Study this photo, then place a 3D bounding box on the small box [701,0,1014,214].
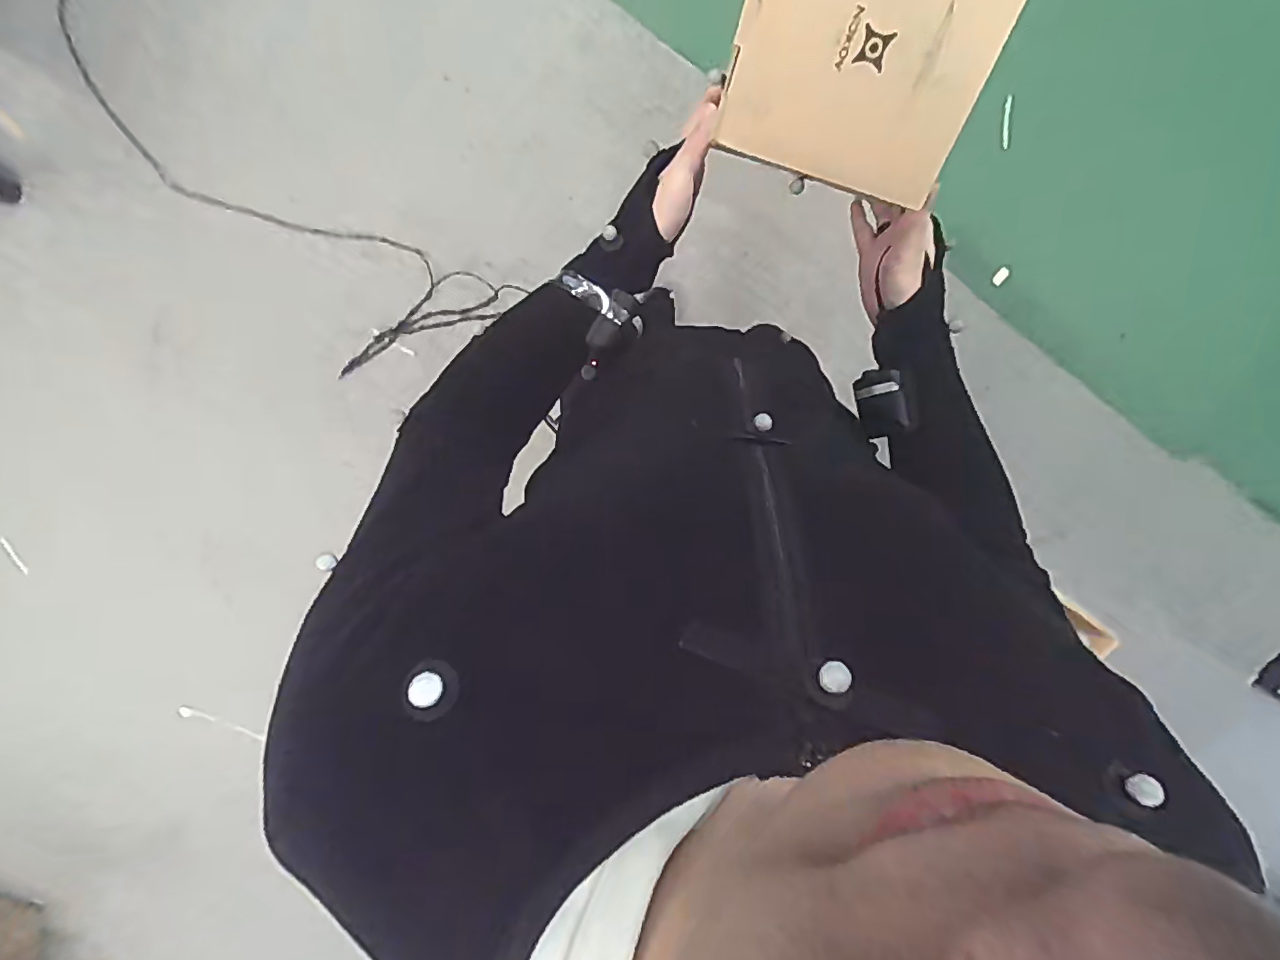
[{"bbox_3d":[0.156,-0.337,0.446,0.179,0.176,0.168,16,121,-4],"label":"small box"}]
